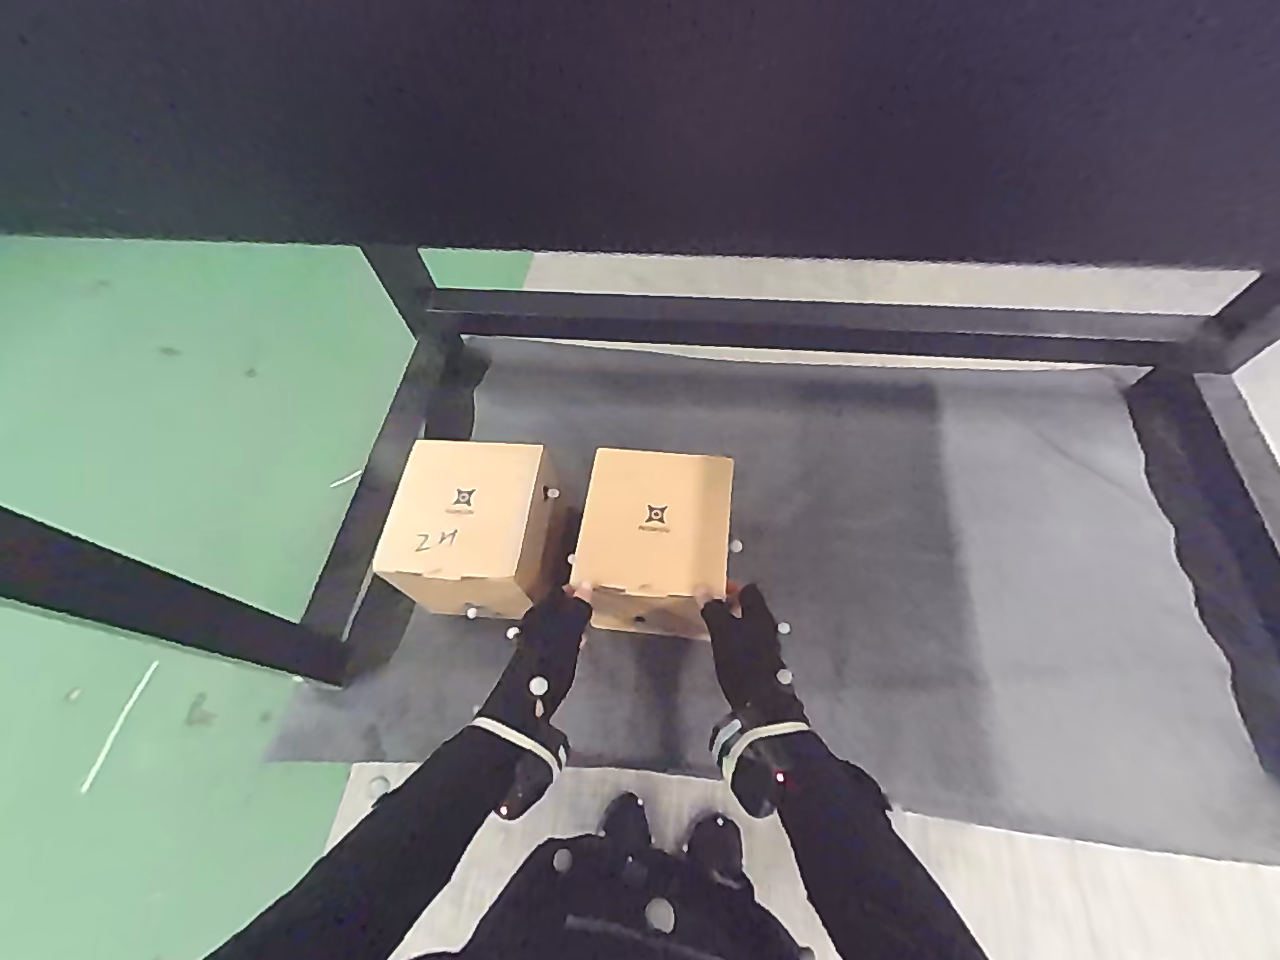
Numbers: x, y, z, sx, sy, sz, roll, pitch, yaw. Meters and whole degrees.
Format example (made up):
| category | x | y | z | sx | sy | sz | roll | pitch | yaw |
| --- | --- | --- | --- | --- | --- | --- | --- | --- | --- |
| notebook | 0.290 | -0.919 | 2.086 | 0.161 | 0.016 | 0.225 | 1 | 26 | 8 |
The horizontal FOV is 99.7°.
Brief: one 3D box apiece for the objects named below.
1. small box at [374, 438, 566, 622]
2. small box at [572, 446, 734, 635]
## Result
| category | x | y | z | sx | sy | sz | roll | pitch | yaw |
| --- | --- | --- | --- | --- | --- | --- | --- | --- | --- |
| small box | -0.199 | 0.067 | 0.694 | 0.168 | 0.176 | 0.179 | 3 | 60 | 7 |
| small box | 0.023 | 0.079 | 0.671 | 0.168 | 0.176 | 0.179 | 4 | 62 | 7 |
